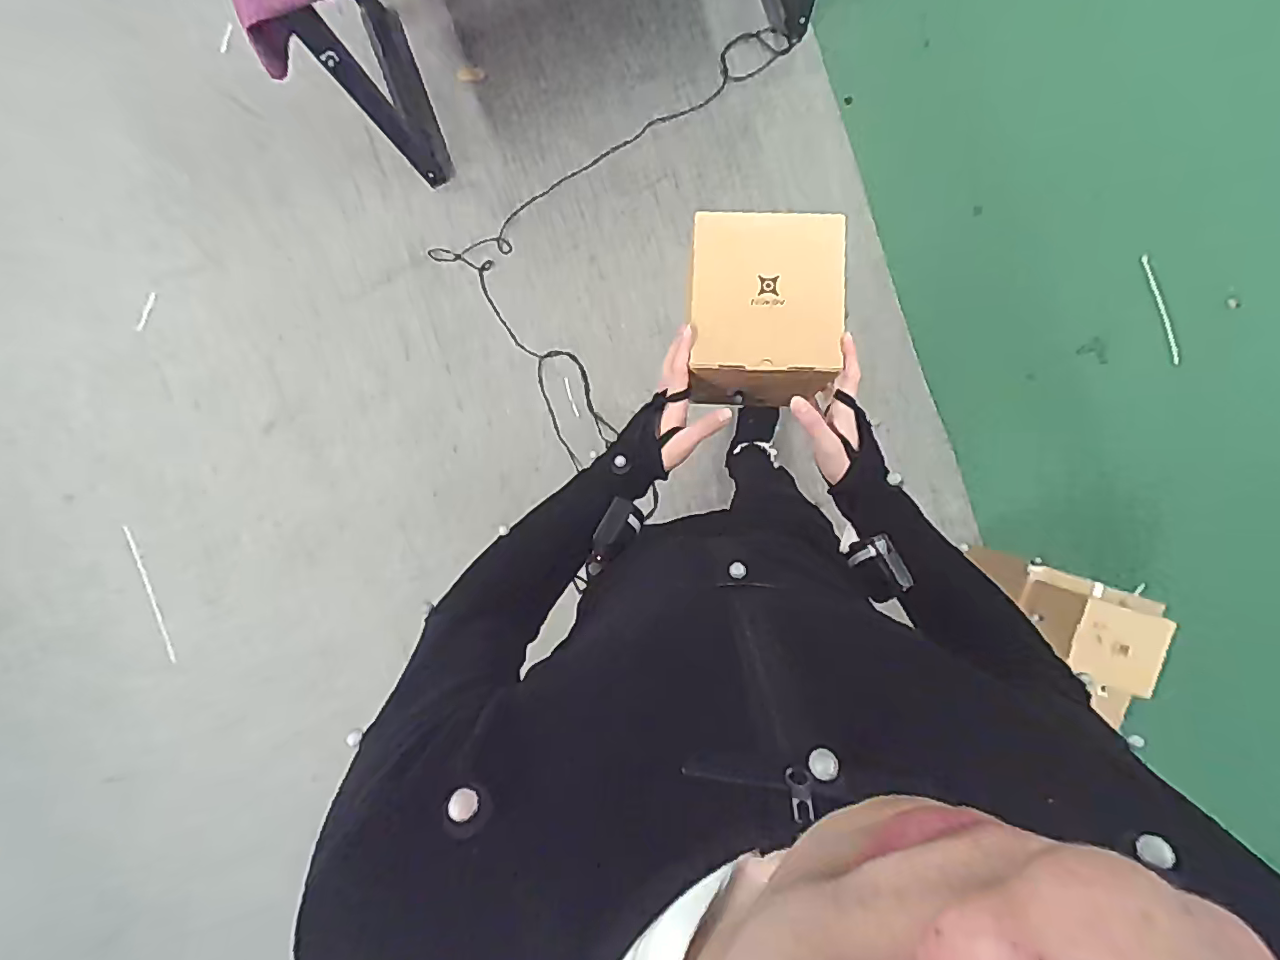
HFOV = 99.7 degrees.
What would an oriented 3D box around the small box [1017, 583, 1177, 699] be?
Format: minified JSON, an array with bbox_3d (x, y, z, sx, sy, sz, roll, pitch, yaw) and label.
[{"bbox_3d":[0.968,0.335,1.162,0.179,0.176,0.168,17,93,5],"label":"small box"}]

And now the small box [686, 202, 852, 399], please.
[{"bbox_3d":[0.144,-0.206,0.658,0.168,0.176,0.179,2,86,1],"label":"small box"}]
